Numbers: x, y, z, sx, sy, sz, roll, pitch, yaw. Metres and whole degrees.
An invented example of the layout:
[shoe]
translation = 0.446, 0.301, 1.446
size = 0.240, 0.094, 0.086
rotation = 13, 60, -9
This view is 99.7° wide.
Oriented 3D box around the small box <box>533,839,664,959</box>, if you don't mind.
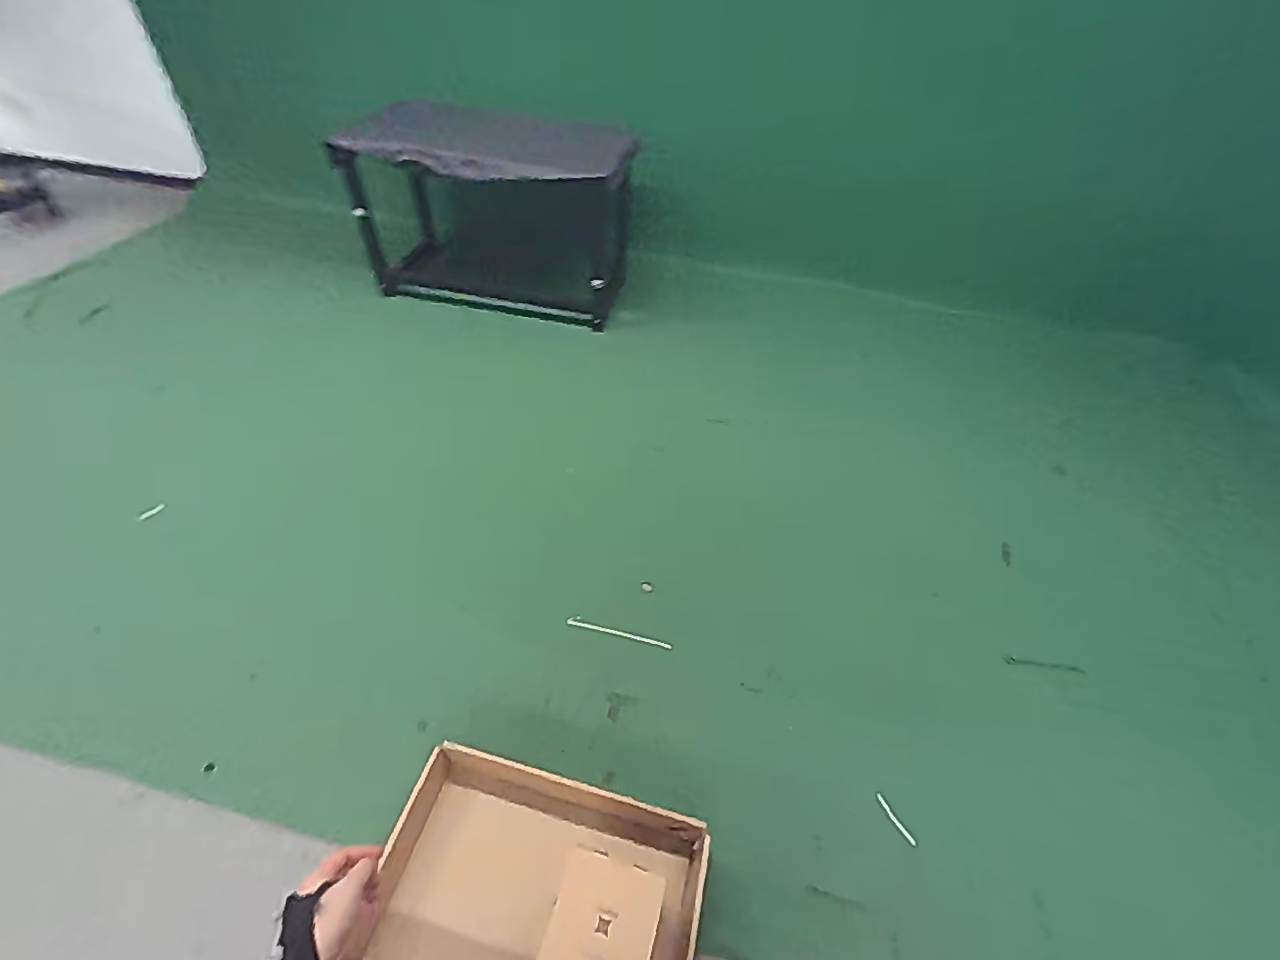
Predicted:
[small box]
translation = -0.065, 0.738, 0.902
size = 0.168, 0.176, 0.179
rotation = 14, 49, 9
